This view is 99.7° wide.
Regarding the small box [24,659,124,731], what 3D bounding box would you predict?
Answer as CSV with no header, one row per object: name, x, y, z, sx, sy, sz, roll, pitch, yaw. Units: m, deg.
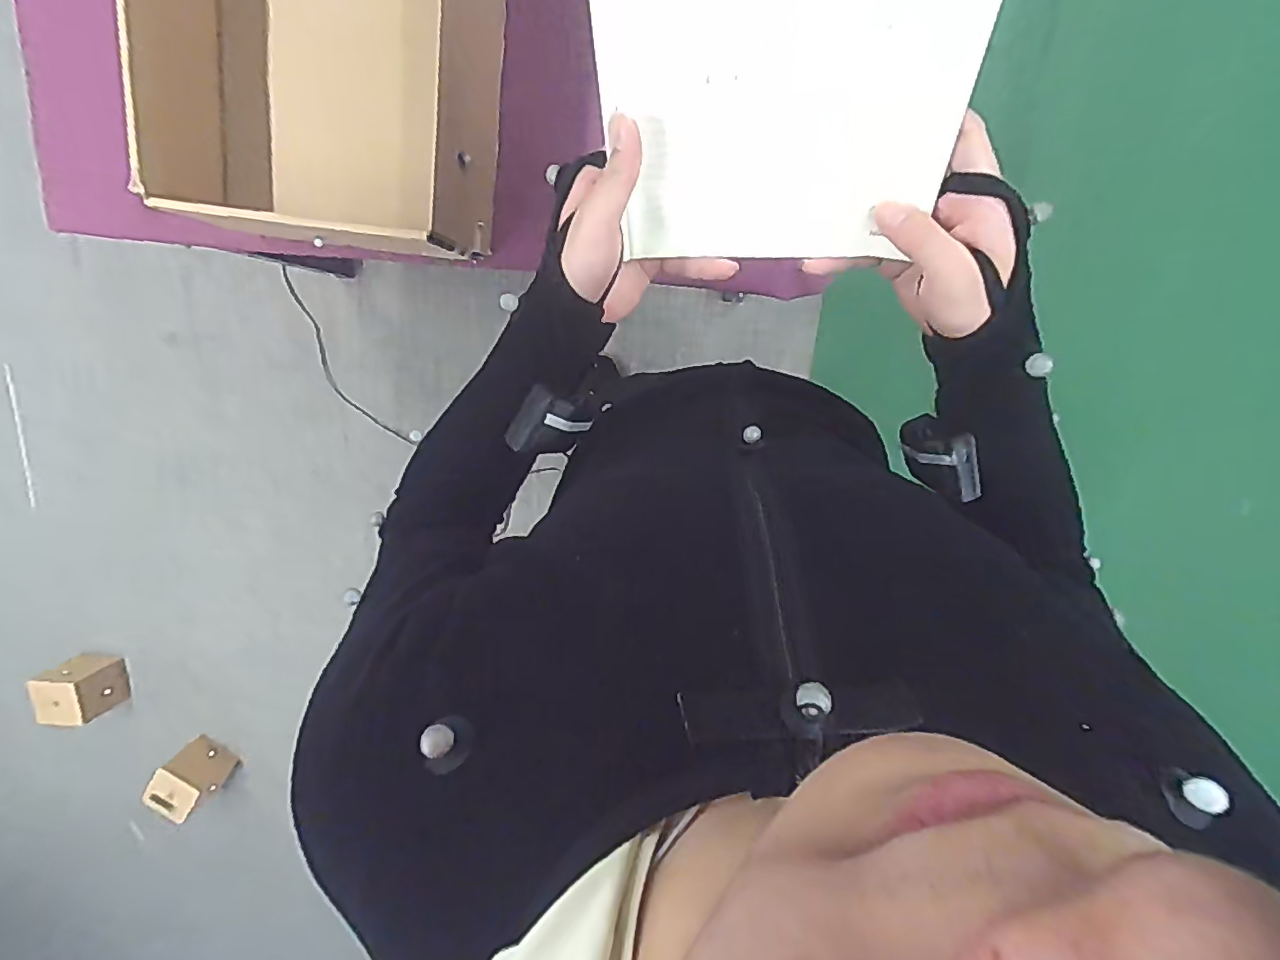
small box,-1.952,0.742,1.879,0.179,0.176,0.168,3,101,4

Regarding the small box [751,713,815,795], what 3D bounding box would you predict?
small box,0.443,0.849,1.691,0.168,0.176,0.179,-4,101,6
